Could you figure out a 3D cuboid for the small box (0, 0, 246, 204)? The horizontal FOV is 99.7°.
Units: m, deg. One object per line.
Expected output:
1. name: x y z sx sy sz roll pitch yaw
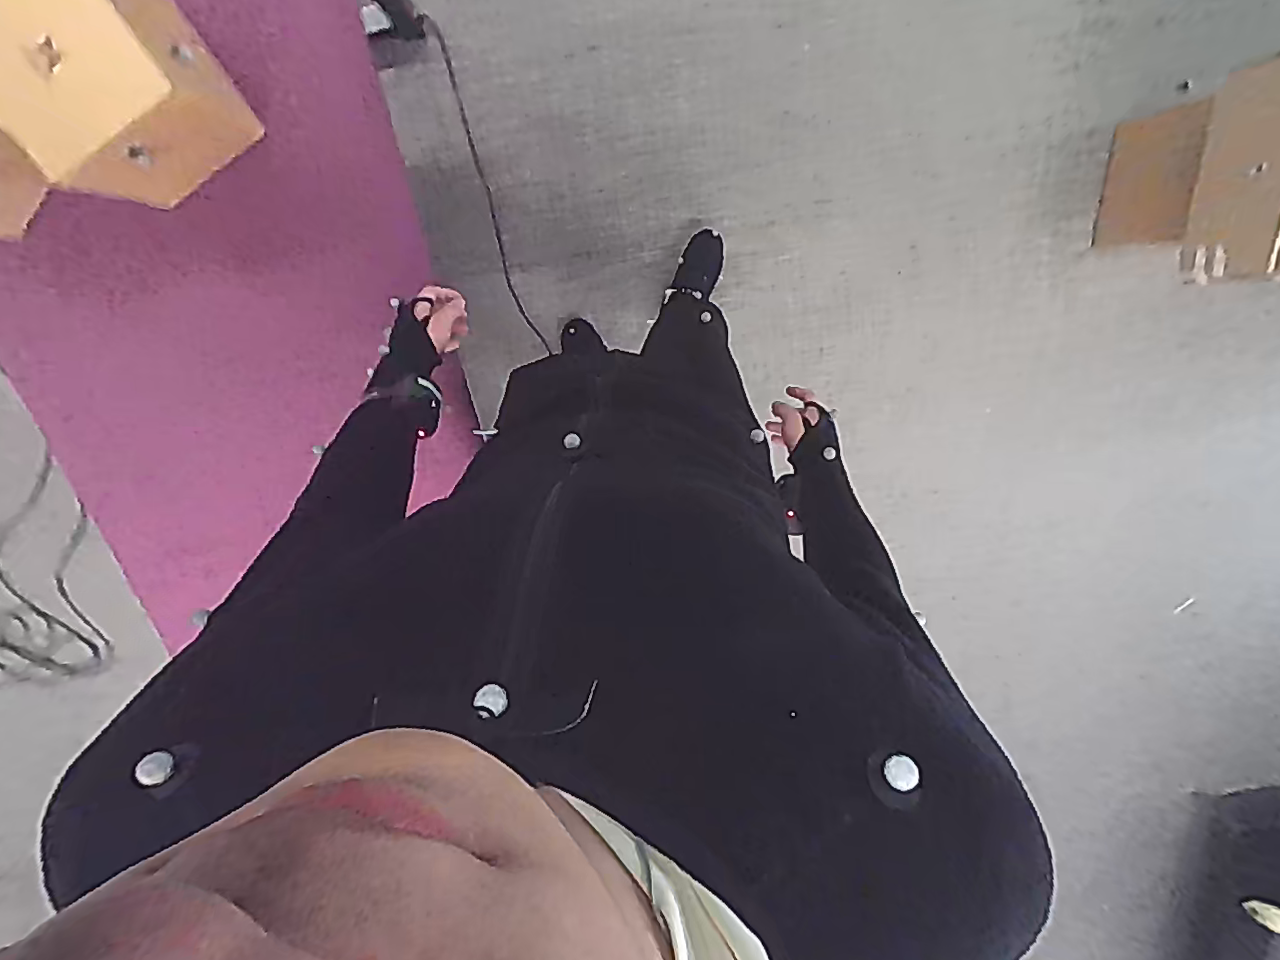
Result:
1. small box: -0.597 -0.441 0.610 0.179 0.176 0.168 -30 109 8
